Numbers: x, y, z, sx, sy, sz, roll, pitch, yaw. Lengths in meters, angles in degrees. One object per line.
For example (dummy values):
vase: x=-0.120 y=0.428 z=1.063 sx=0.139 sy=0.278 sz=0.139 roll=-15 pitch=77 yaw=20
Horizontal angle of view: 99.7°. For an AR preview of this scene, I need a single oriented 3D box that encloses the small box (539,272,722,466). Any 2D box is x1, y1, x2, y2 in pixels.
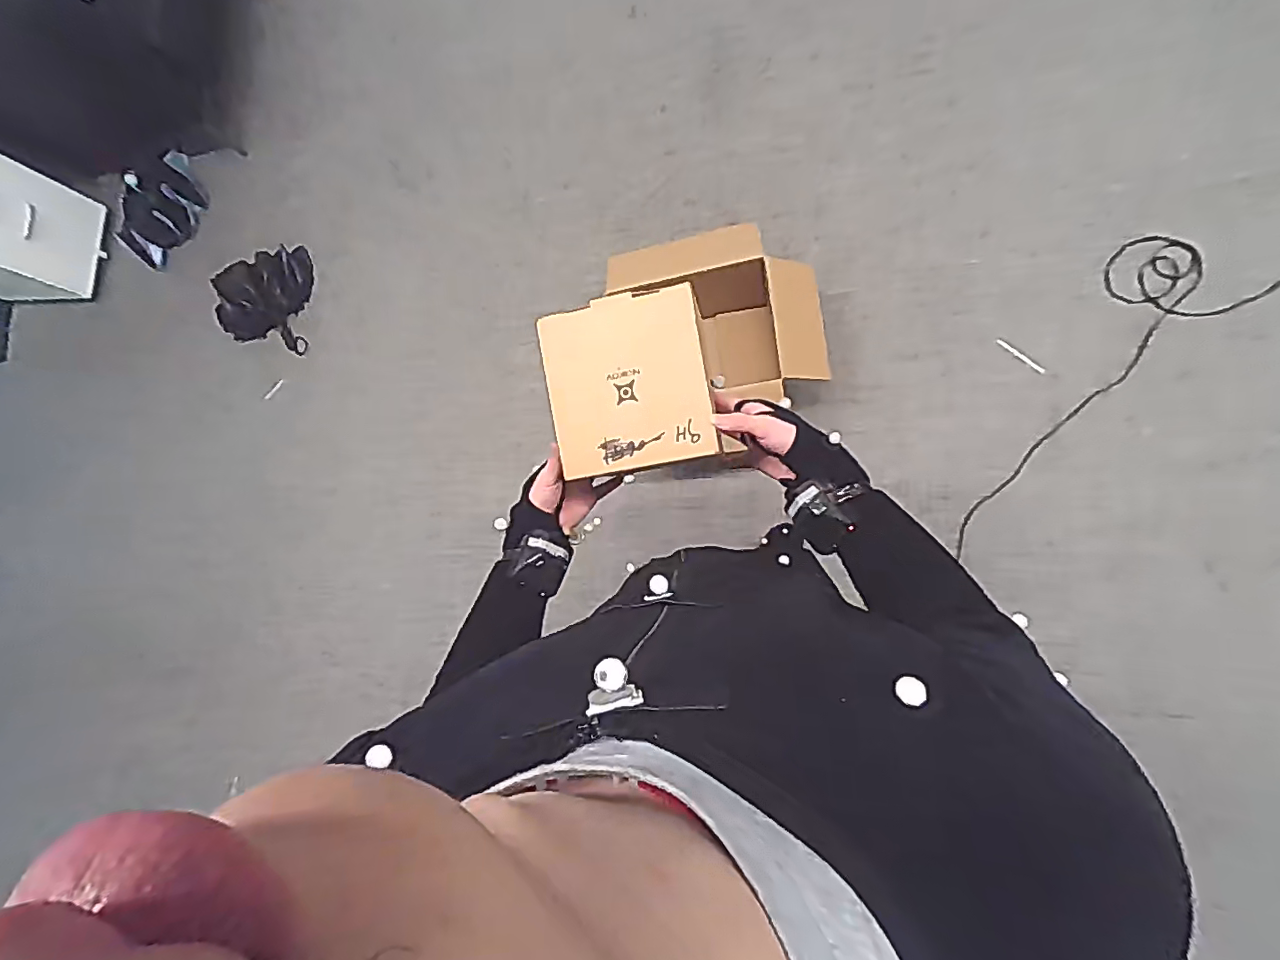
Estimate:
small box: x=0.000 y=-0.114 z=0.632 sx=0.168 sy=0.176 sz=0.179 roll=-10 pitch=91 yaw=11
